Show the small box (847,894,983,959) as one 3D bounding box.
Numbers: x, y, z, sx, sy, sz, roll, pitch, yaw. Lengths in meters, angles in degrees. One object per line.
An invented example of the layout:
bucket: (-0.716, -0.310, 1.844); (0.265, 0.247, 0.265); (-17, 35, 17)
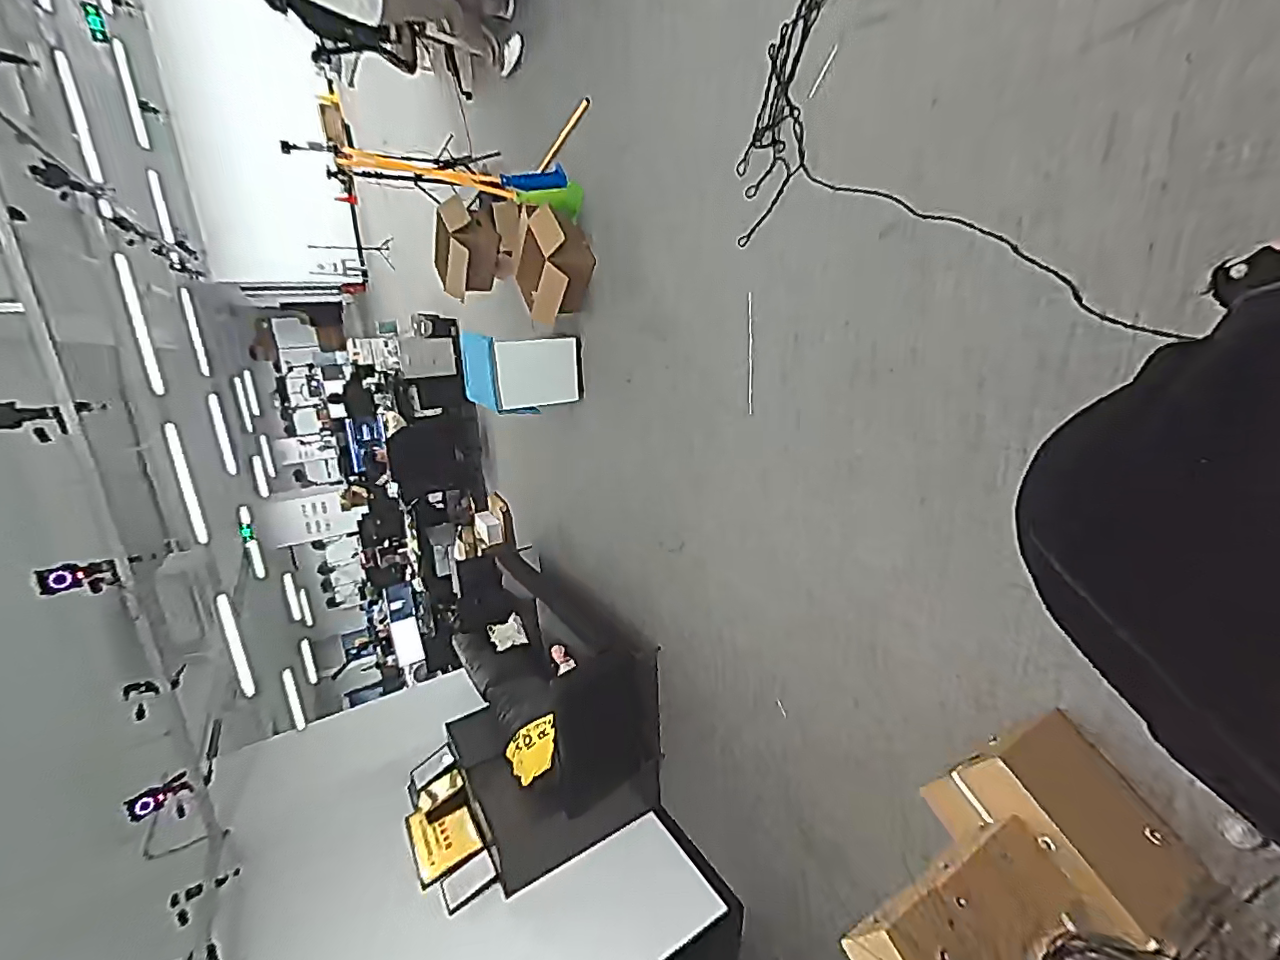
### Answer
small box: (0.565, 0.972, 1.083); (0.168, 0.176, 0.179); (57, 144, 35)

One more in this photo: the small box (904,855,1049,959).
small box: (0.712, 0.951, 1.155); (0.179, 0.176, 0.168); (57, 145, 34)
